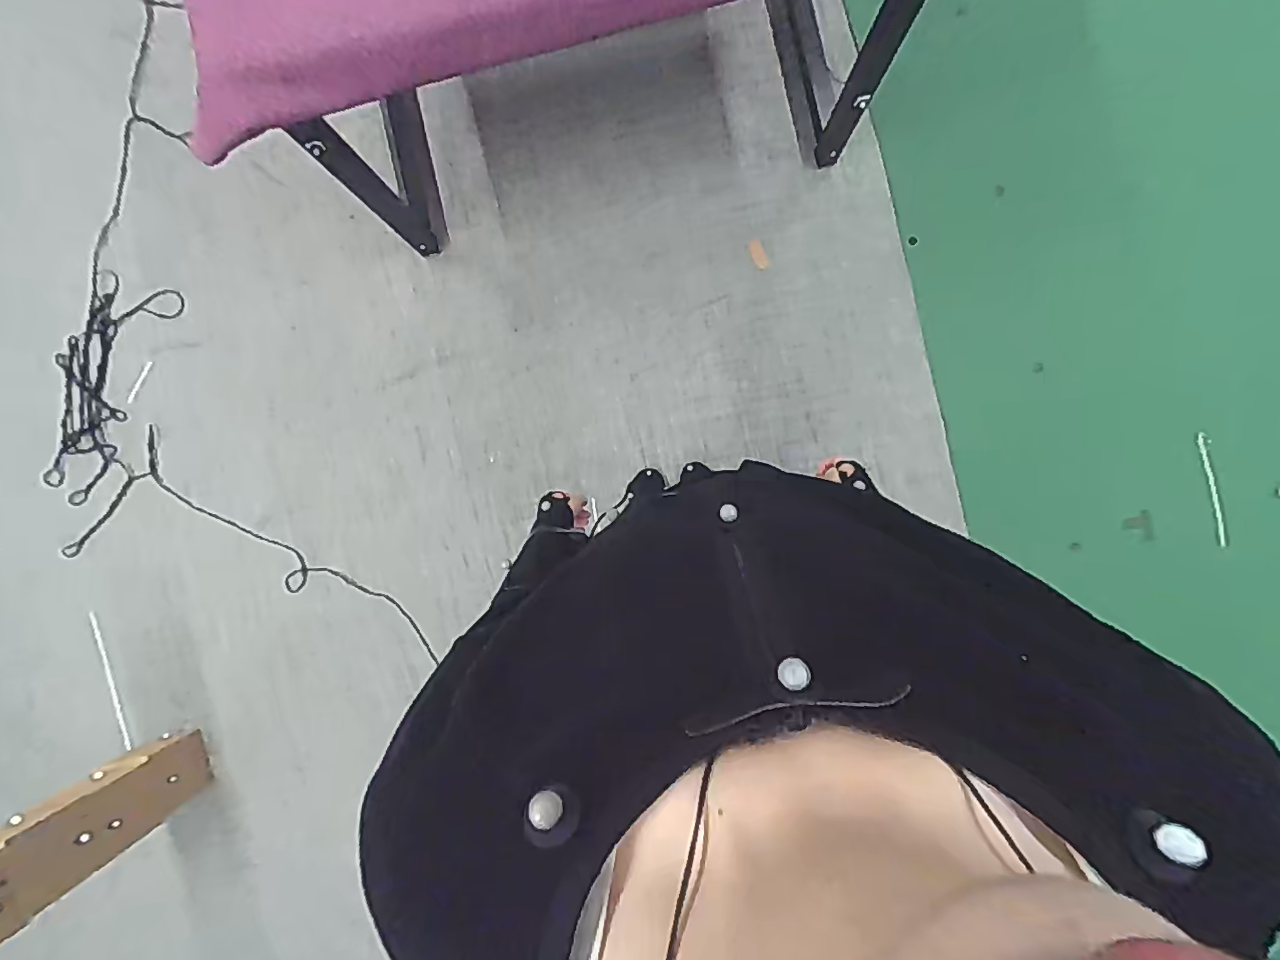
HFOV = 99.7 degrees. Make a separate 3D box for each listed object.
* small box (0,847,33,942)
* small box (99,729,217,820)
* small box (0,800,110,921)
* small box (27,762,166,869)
[{"bbox_3d":[-1.340,0.846,1.025,0.179,0.176,0.168,-16,91,1],"label":"small box"},{"bbox_3d":[-1.338,0.833,1.515,0.168,0.176,0.179,-15,90,3],"label":"small box"},{"bbox_3d":[-1.338,0.839,1.188,0.168,0.176,0.179,-16,89,2],"label":"small box"},{"bbox_3d":[-1.344,0.845,1.352,0.168,0.176,0.179,-14,90,2],"label":"small box"}]
